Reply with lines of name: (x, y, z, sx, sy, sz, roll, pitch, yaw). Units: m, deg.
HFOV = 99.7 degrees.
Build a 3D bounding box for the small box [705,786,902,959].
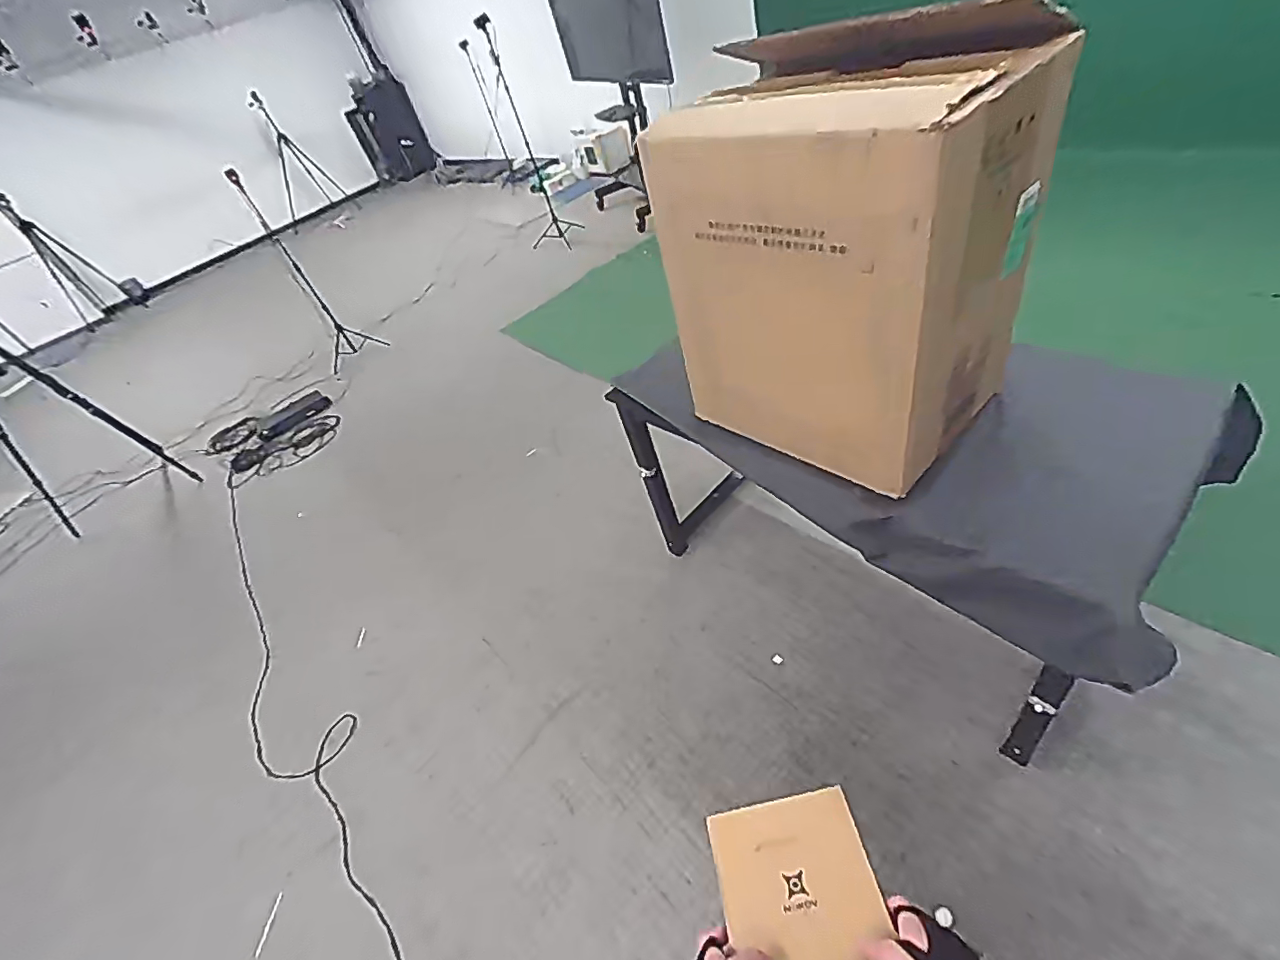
small box: (0.186, 0.495, 0.624, 0.168, 0.176, 0.179, -16, 36, 4)
